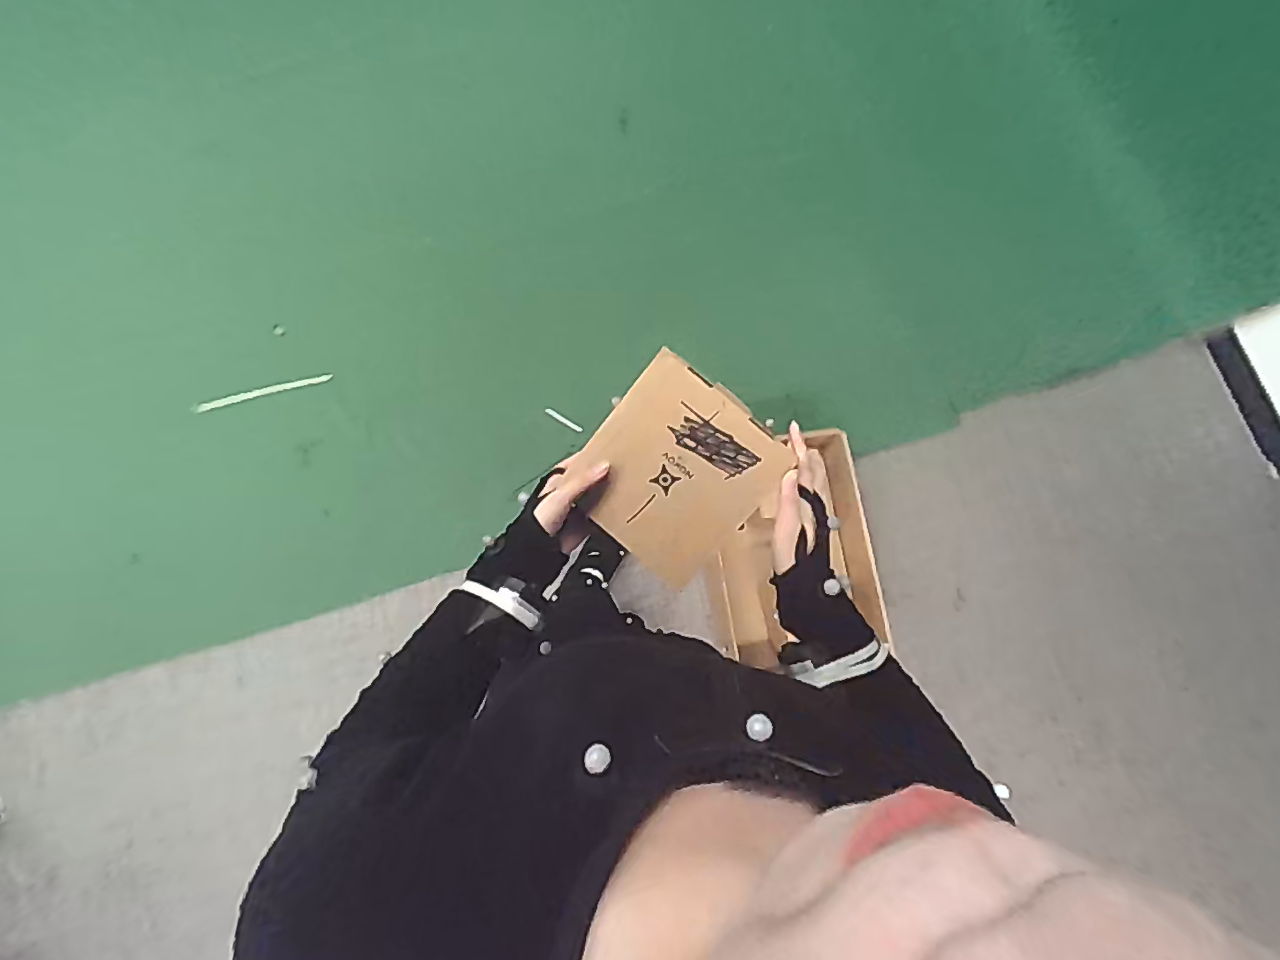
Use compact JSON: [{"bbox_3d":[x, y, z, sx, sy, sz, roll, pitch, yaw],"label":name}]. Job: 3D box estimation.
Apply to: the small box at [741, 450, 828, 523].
[{"bbox_3d":[0.376,0.022,1.446,0.179,0.176,0.168,-6,82,-5],"label":"small box"}]
